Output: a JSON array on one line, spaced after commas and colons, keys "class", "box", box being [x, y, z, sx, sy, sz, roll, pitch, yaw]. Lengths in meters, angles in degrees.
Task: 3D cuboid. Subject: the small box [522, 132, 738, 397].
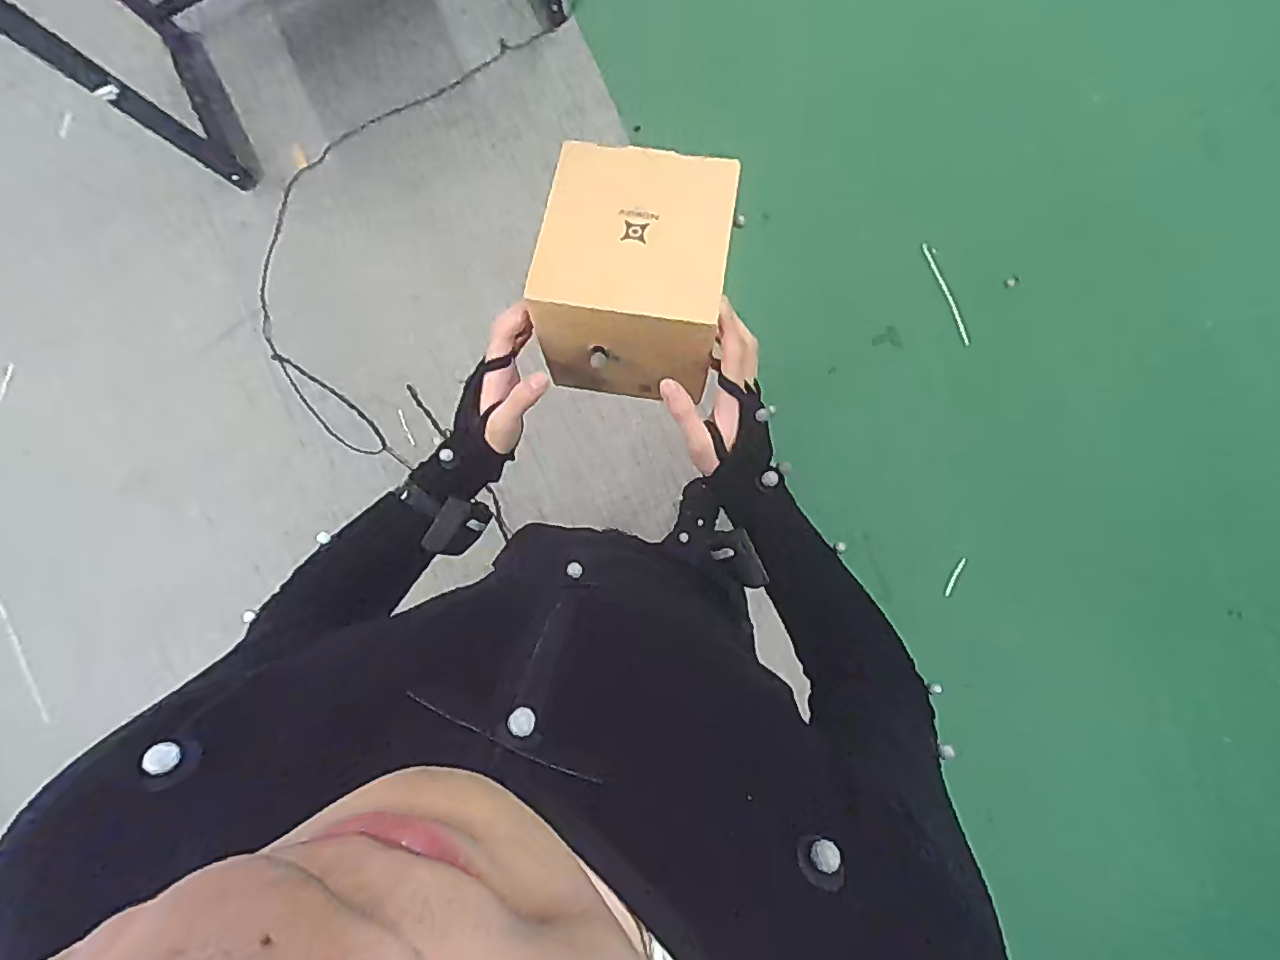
[{"class": "small box", "box": [-0.004, -0.199, 0.539, 0.168, 0.176, 0.179, 8, 73, 3]}]
